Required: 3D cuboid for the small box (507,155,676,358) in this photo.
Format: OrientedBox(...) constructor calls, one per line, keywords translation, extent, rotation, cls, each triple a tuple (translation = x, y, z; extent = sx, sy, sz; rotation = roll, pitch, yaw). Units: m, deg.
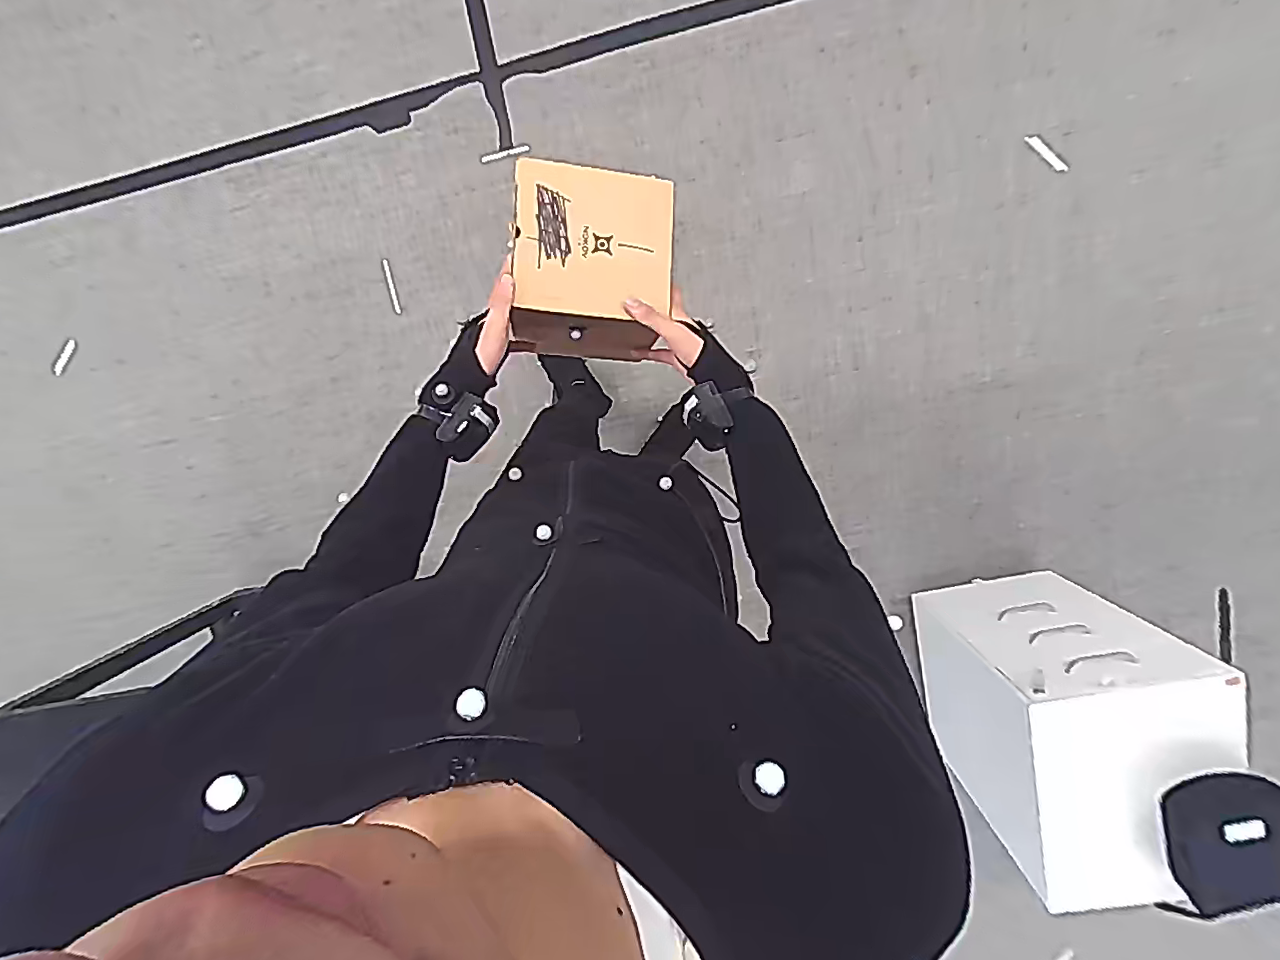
OrientedBox(translation=(-0.064, -0.253, 0.656), extent=(0.179, 0.176, 0.168), rotation=(3, 87, -11), cls="small box")
